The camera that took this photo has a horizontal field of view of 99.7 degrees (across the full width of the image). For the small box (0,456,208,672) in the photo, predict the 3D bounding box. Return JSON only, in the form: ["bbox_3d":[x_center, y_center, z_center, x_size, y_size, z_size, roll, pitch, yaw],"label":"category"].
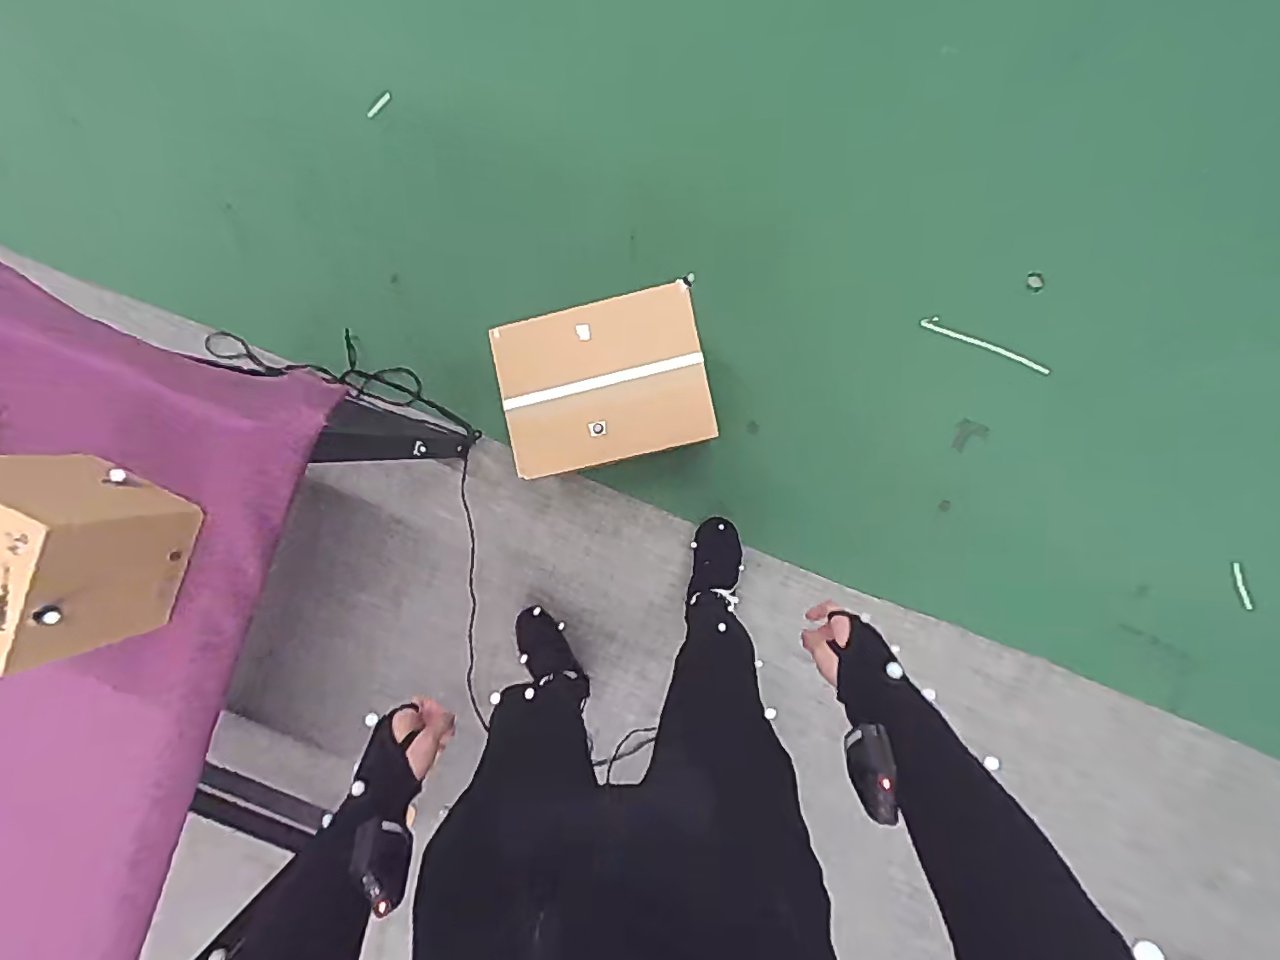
[{"bbox_3d":[-0.653,0.079,0.609,0.179,0.176,0.168,24,96,6],"label":"small box"}]
